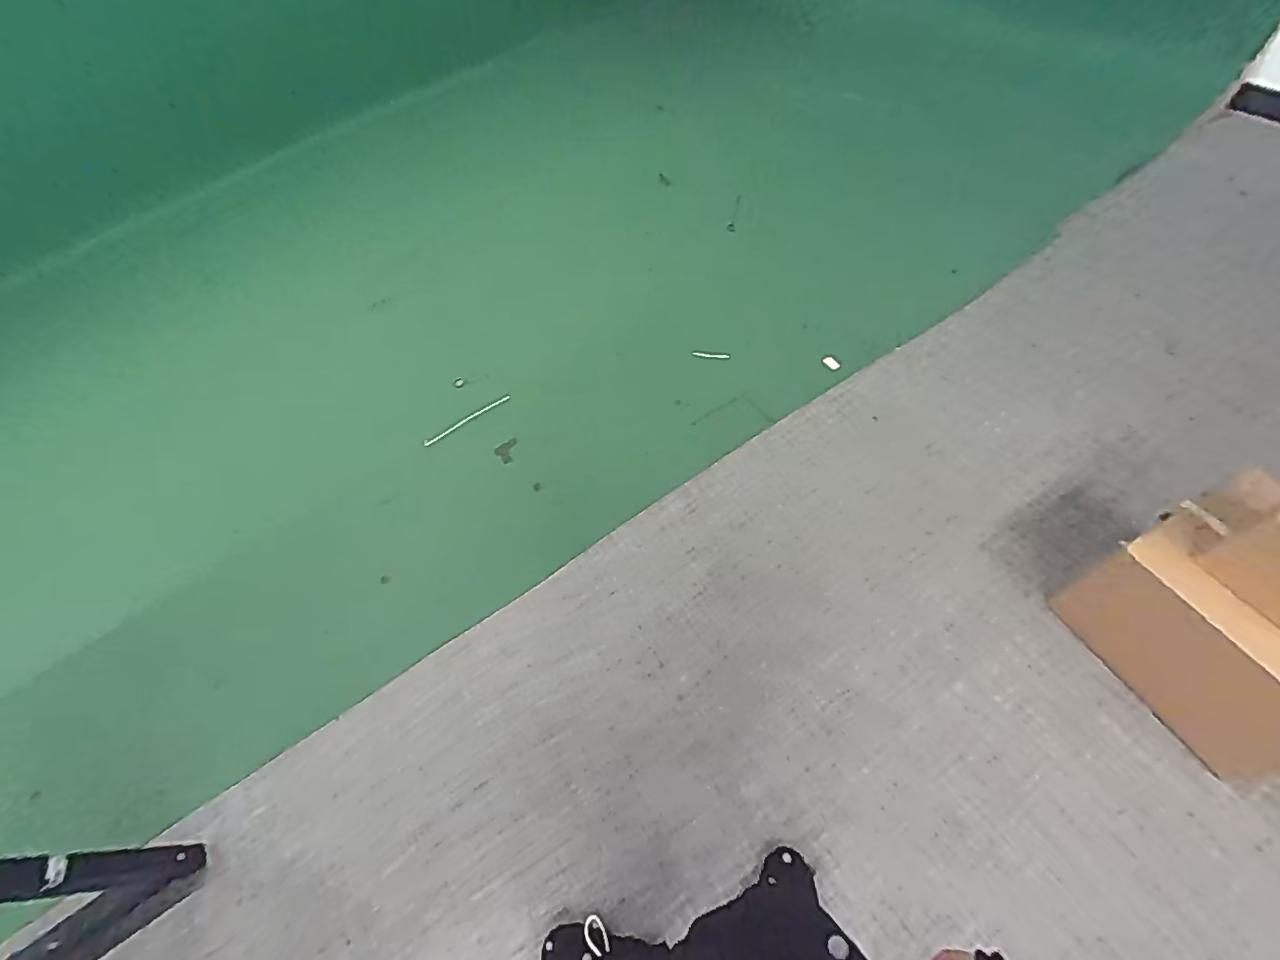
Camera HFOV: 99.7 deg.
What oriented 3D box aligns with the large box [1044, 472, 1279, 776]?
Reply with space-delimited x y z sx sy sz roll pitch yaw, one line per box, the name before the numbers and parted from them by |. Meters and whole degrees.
large box | 1.096 0.269 1.002 0.320 0.320 0.408 -29 59 -6
